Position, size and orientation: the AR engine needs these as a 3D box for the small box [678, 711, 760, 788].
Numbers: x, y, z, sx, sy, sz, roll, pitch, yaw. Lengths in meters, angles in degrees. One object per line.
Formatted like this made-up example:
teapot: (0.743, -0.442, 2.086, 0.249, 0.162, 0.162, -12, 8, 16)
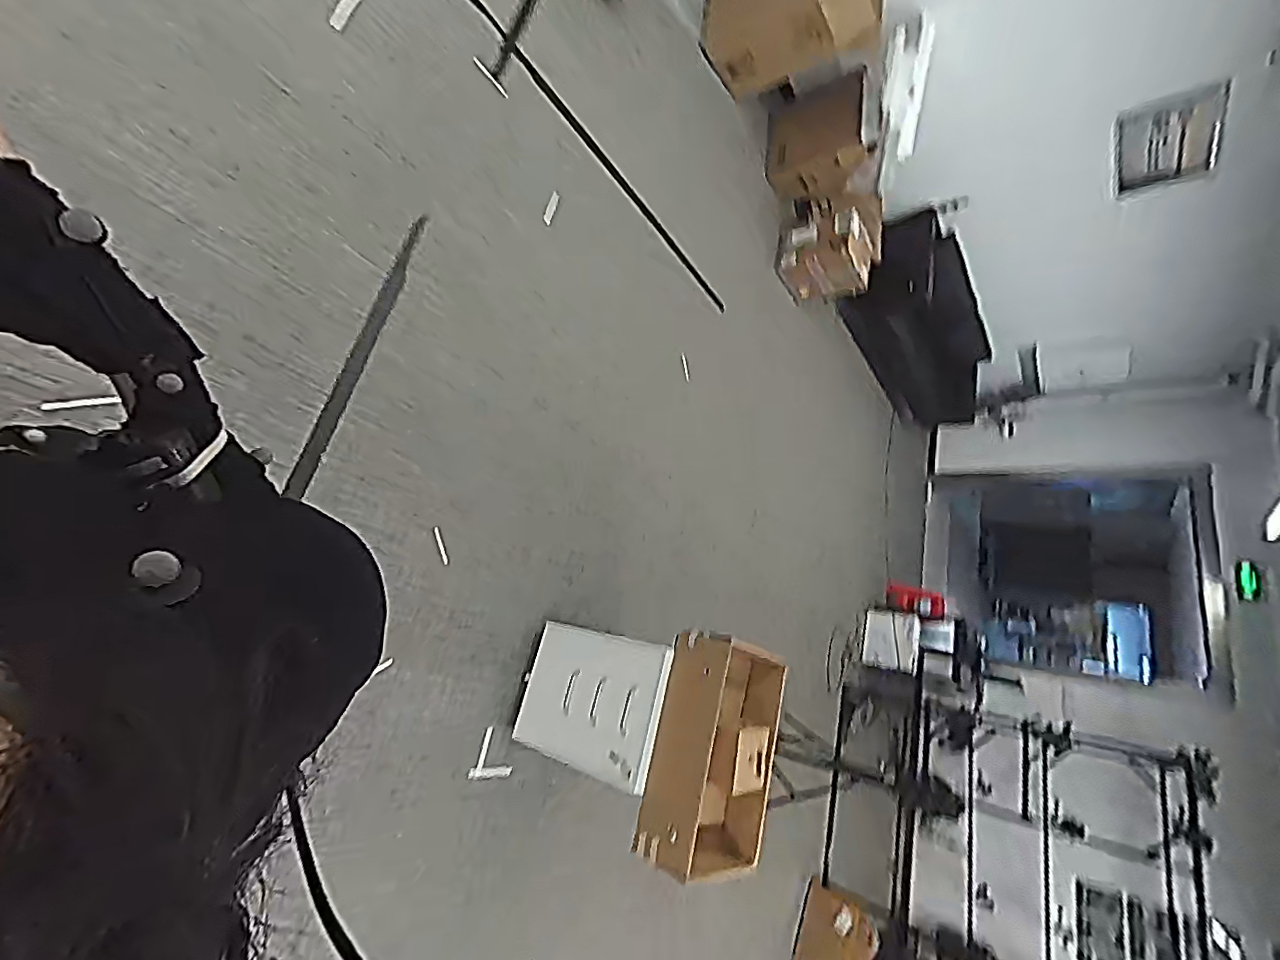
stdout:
small box: (0.238, 0.799, 1.619, 0.179, 0.176, 0.168, 24, 70, -46)
